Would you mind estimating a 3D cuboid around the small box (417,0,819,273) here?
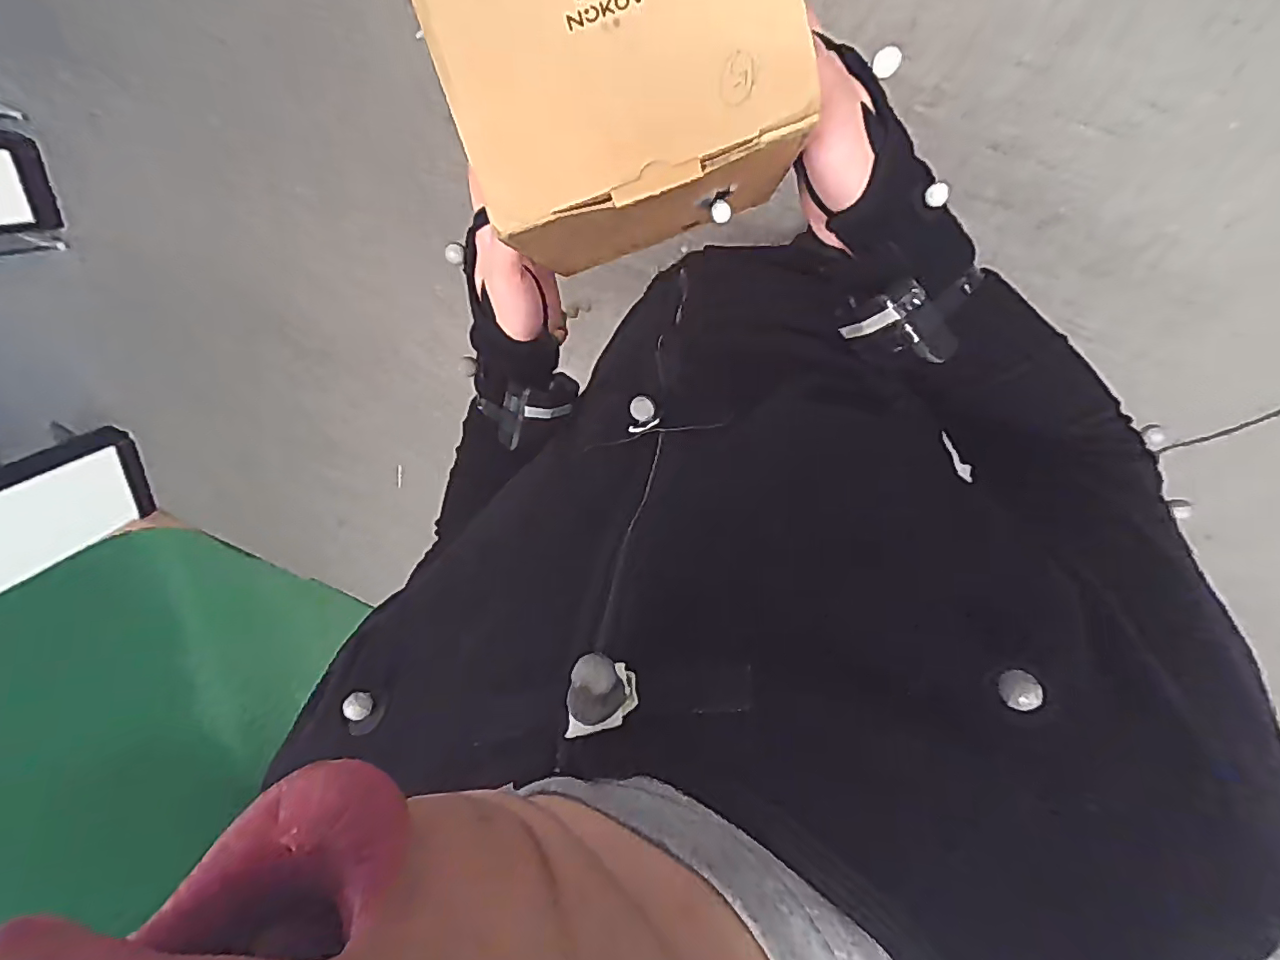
[{"bbox_3d":[-0.012,-0.238,0.323,0.168,0.176,0.179,-17,100,7],"label":"small box"}]
